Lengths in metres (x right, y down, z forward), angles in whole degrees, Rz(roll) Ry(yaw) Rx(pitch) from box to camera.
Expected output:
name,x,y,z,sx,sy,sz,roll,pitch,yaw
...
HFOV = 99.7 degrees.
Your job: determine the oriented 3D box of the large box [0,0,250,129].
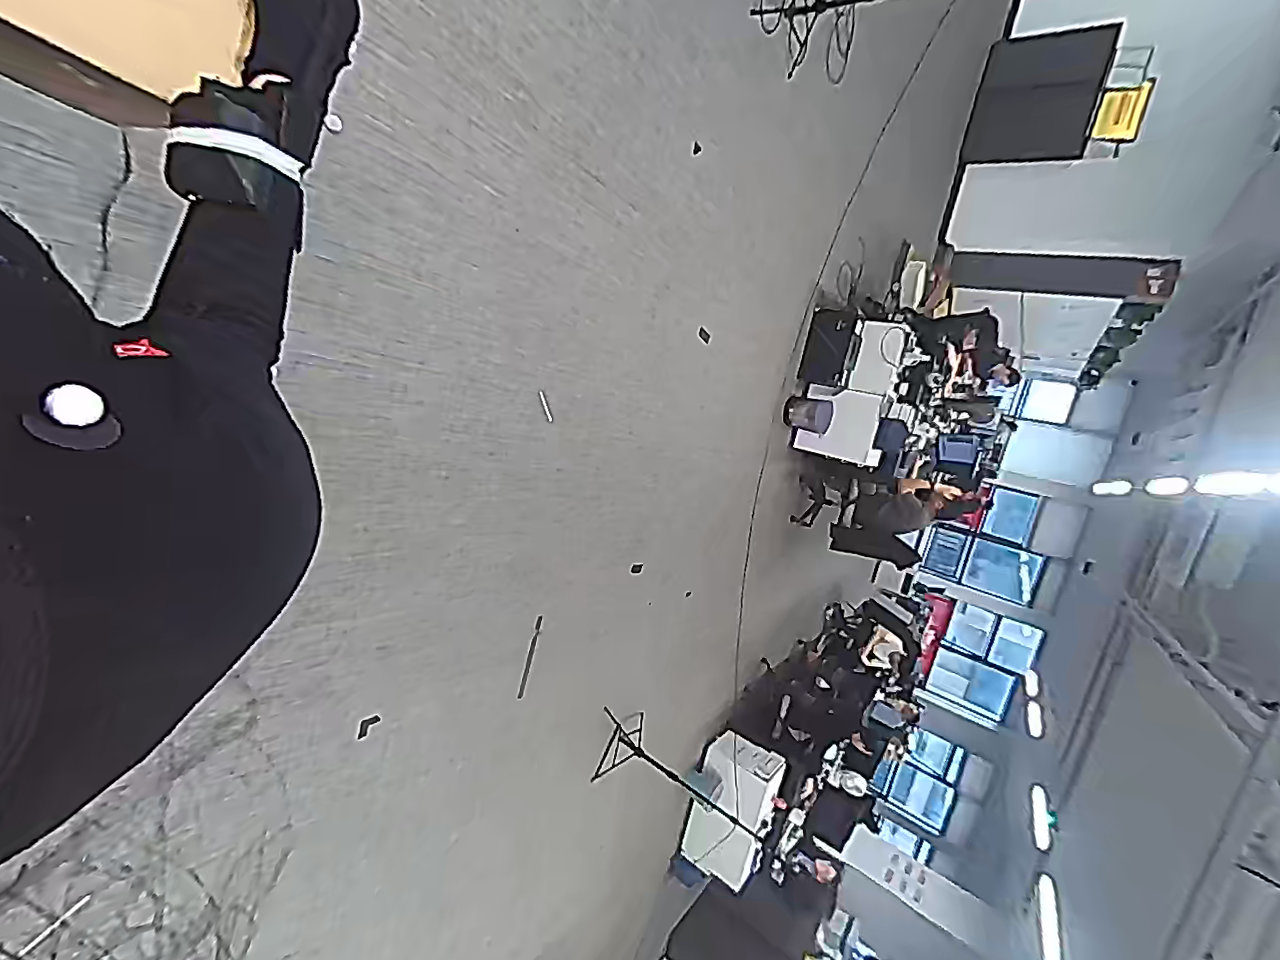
name,x,y,z,sx,sy,sz,roll,pitch,yaw
large box,-0.488,-0.462,0.291,0.408,0.320,0.320,5,107,-58
